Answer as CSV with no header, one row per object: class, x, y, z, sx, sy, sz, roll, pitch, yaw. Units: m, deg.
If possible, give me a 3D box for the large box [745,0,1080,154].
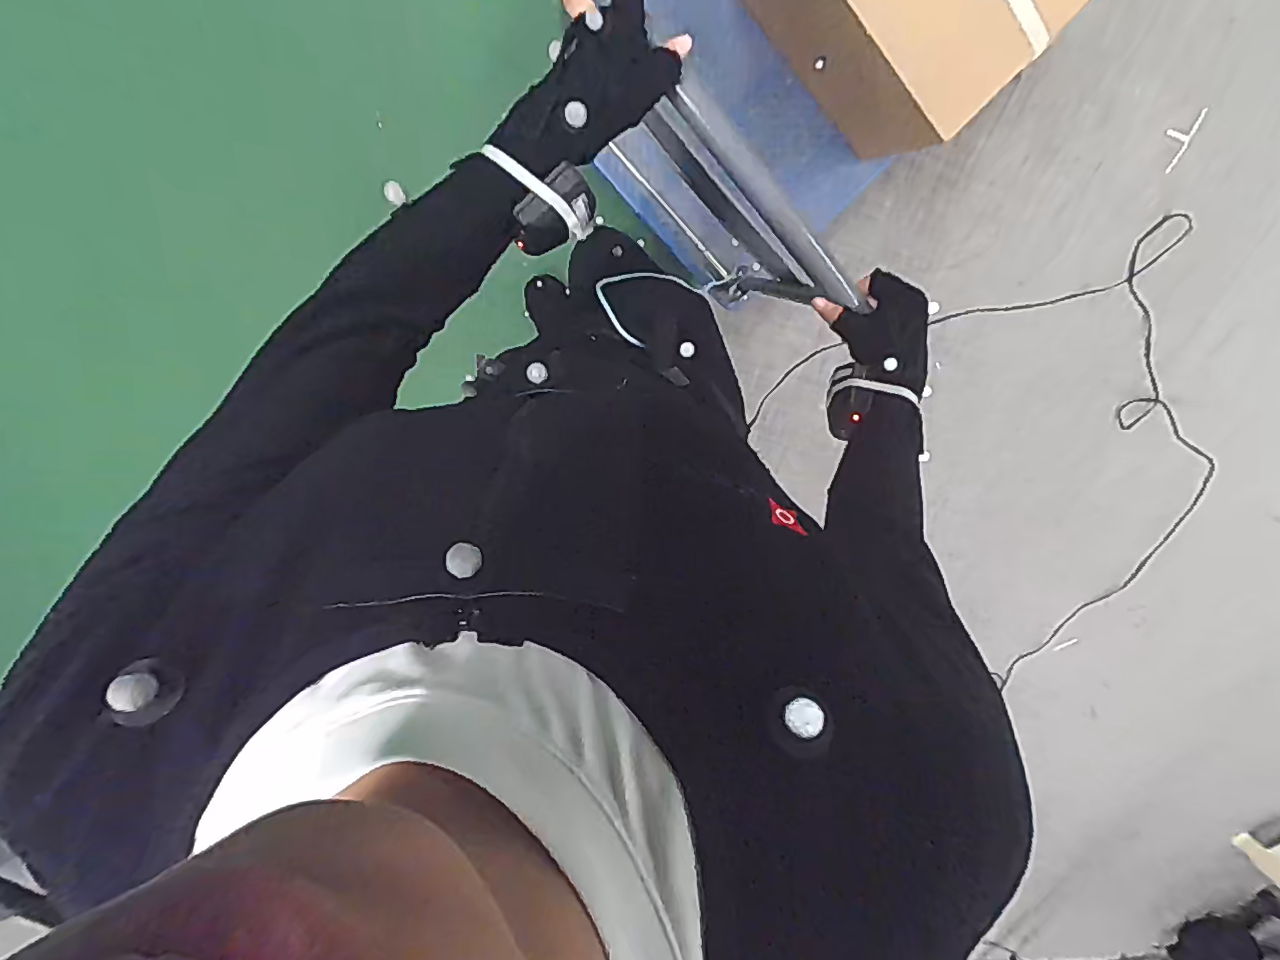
large box,0.411,-0.798,0.841,0.408,0.320,0.320,40,108,-19
